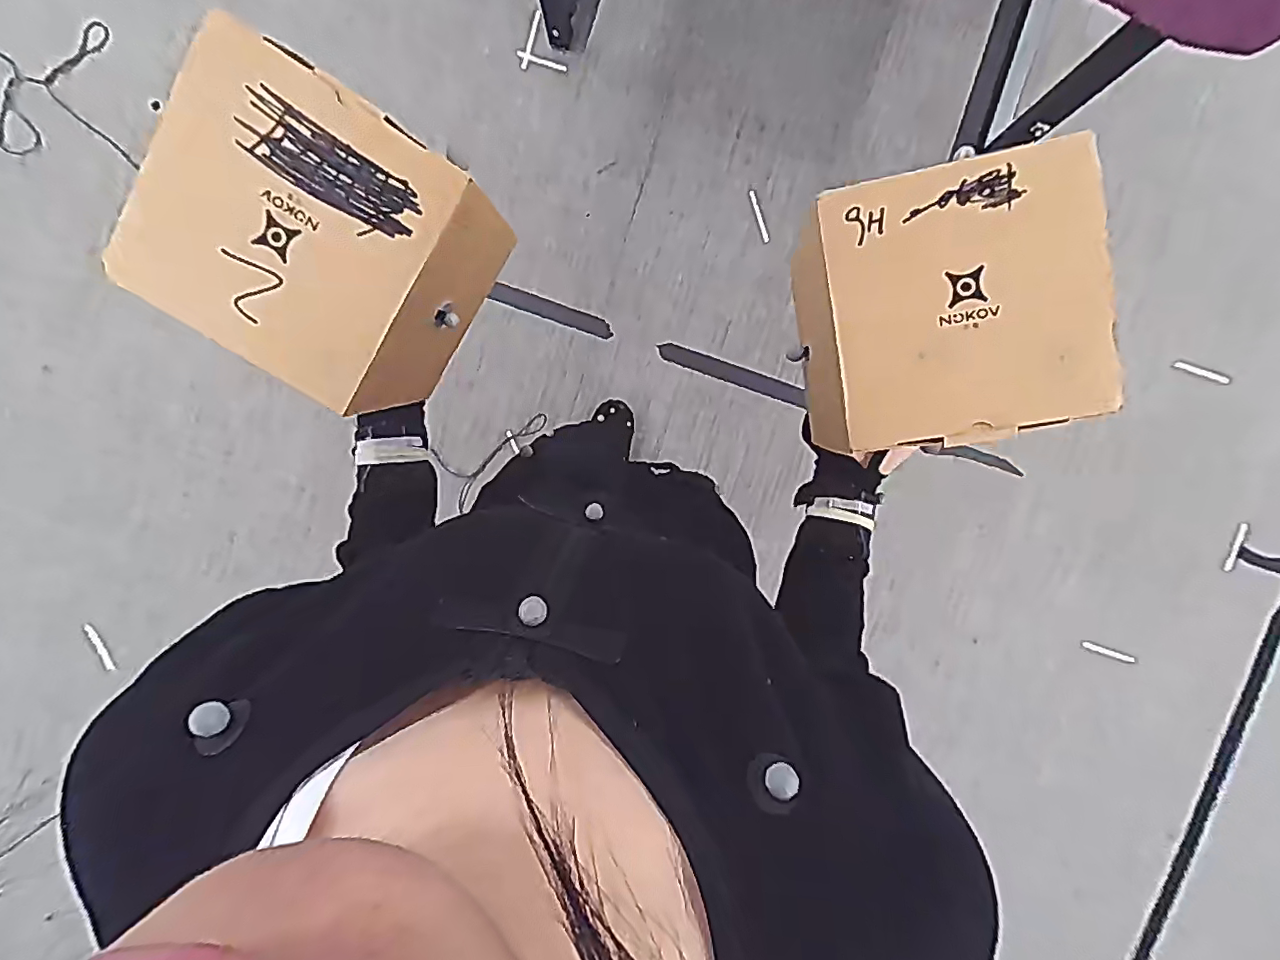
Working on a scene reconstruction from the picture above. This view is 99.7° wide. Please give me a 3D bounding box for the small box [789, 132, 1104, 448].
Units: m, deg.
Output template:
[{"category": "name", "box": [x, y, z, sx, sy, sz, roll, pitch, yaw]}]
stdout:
[{"category": "small box", "box": [0.219, -0.128, 0.430, 0.168, 0.176, 0.179, -8, 95, 10]}]
